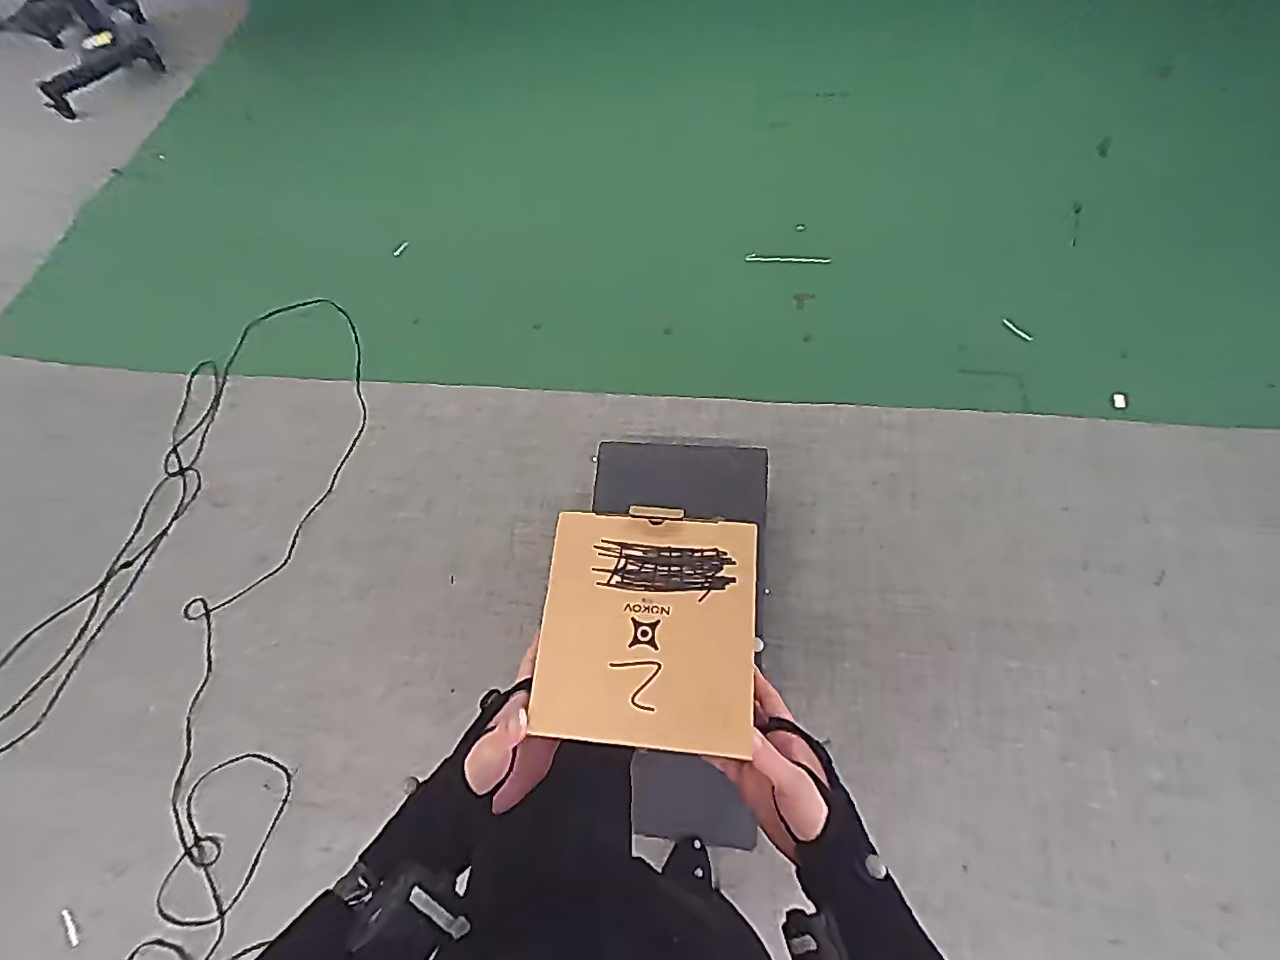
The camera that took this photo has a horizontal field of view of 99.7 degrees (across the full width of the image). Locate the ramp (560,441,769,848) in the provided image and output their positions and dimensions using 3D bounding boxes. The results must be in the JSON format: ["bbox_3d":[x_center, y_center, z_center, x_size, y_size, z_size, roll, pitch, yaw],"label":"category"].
[{"bbox_3d":[0.085,0.377,1.428,0.509,0.206,0.991,2,65,6],"label":"ramp"}]
